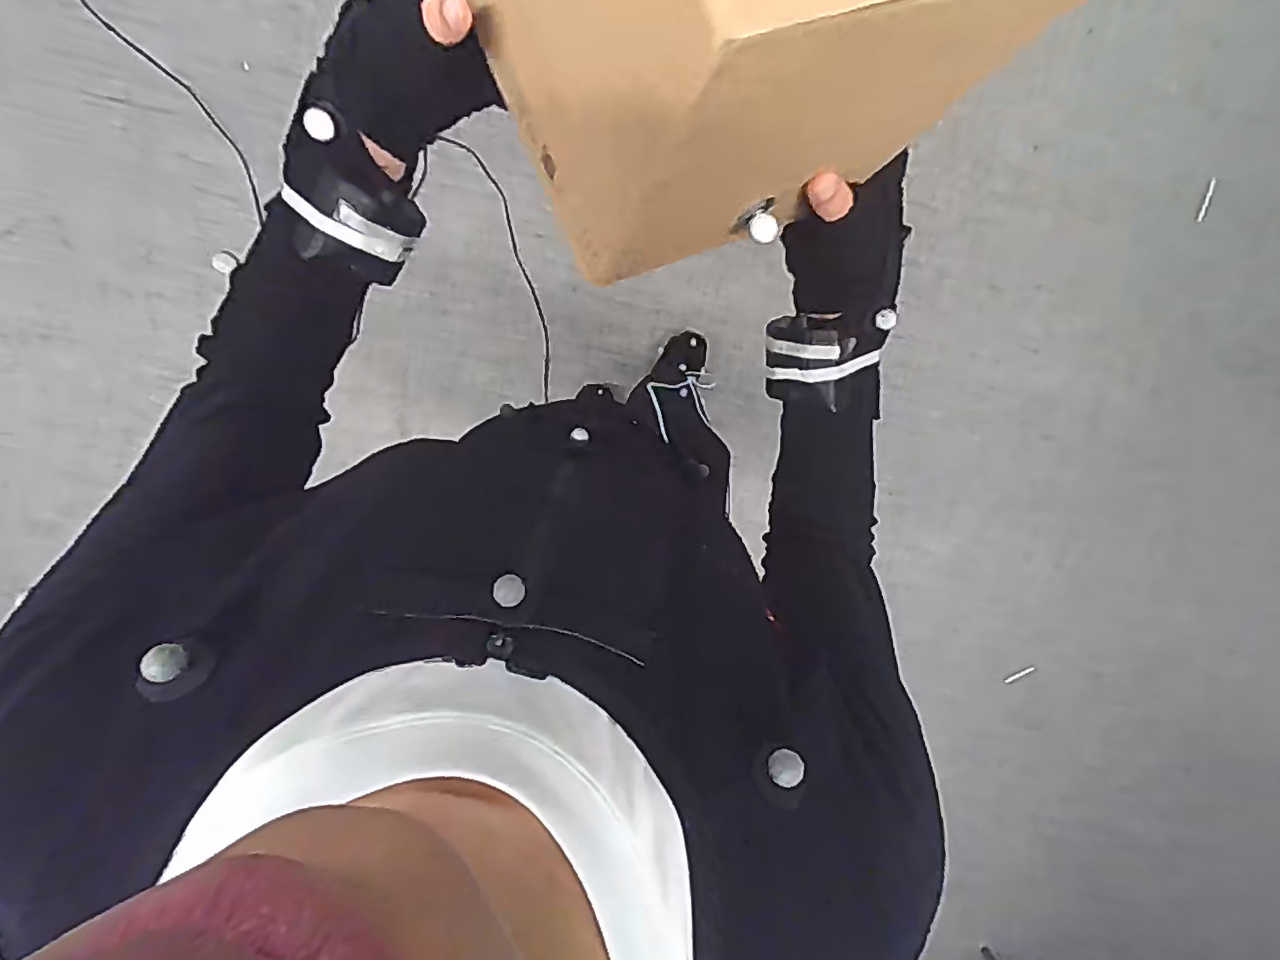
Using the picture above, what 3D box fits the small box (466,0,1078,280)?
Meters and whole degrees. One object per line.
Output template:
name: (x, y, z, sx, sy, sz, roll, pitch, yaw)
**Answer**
small box: (0.037, -0.215, 0.234, 0.179, 0.176, 0.168, -25, 94, -17)
